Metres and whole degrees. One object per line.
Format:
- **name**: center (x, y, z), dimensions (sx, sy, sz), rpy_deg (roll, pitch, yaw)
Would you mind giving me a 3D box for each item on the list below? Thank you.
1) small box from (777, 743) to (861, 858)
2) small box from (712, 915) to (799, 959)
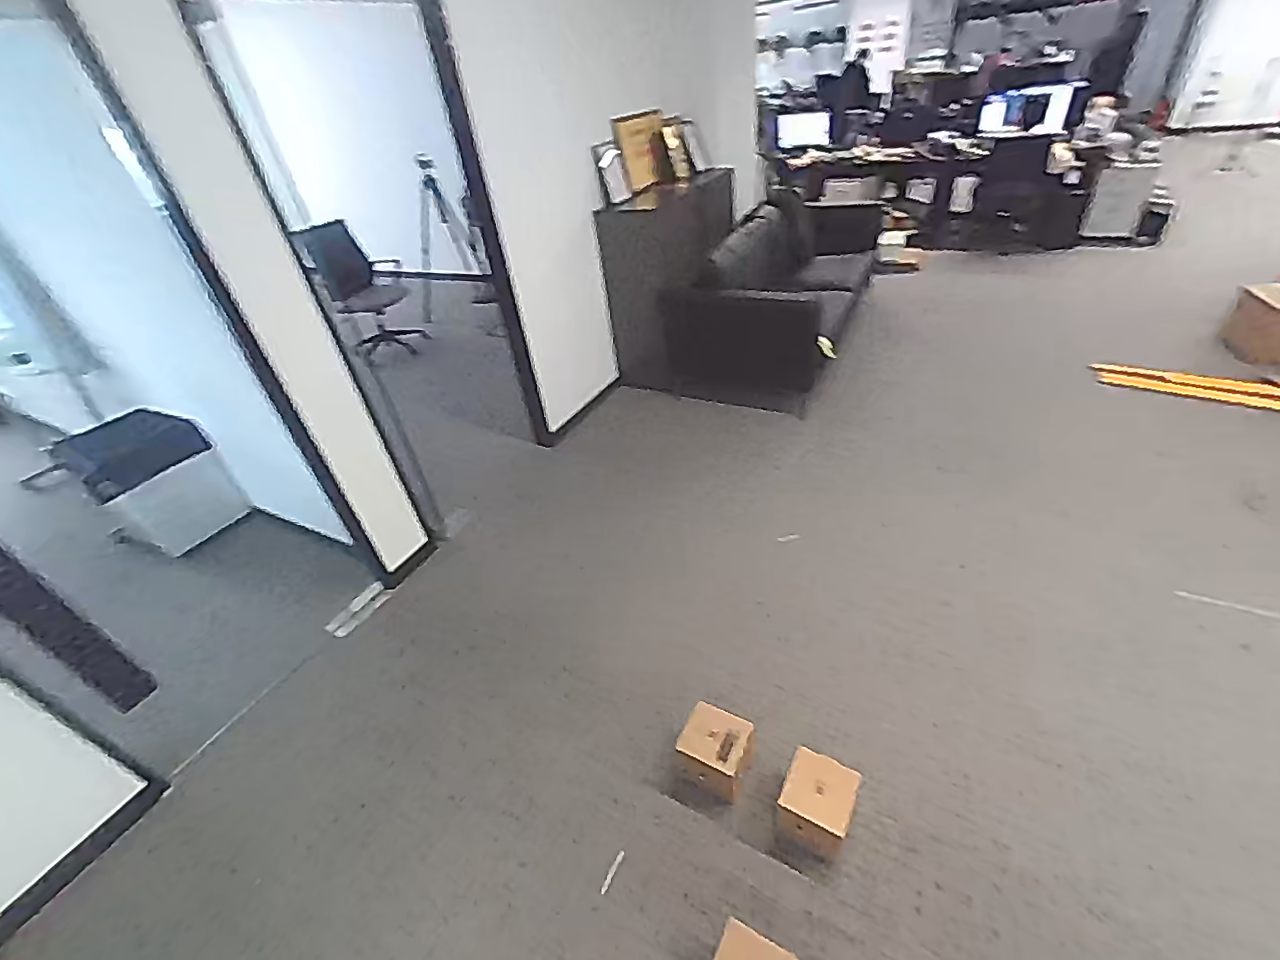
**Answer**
- **small box**: center (0.470, 0.848, 1.426), dimensions (0.168, 0.176, 0.179), rpy_deg (15, 41, 29)
- **small box**: center (0.239, 1.087, 1.146), dimensions (0.179, 0.176, 0.168), rpy_deg (15, 42, 29)
